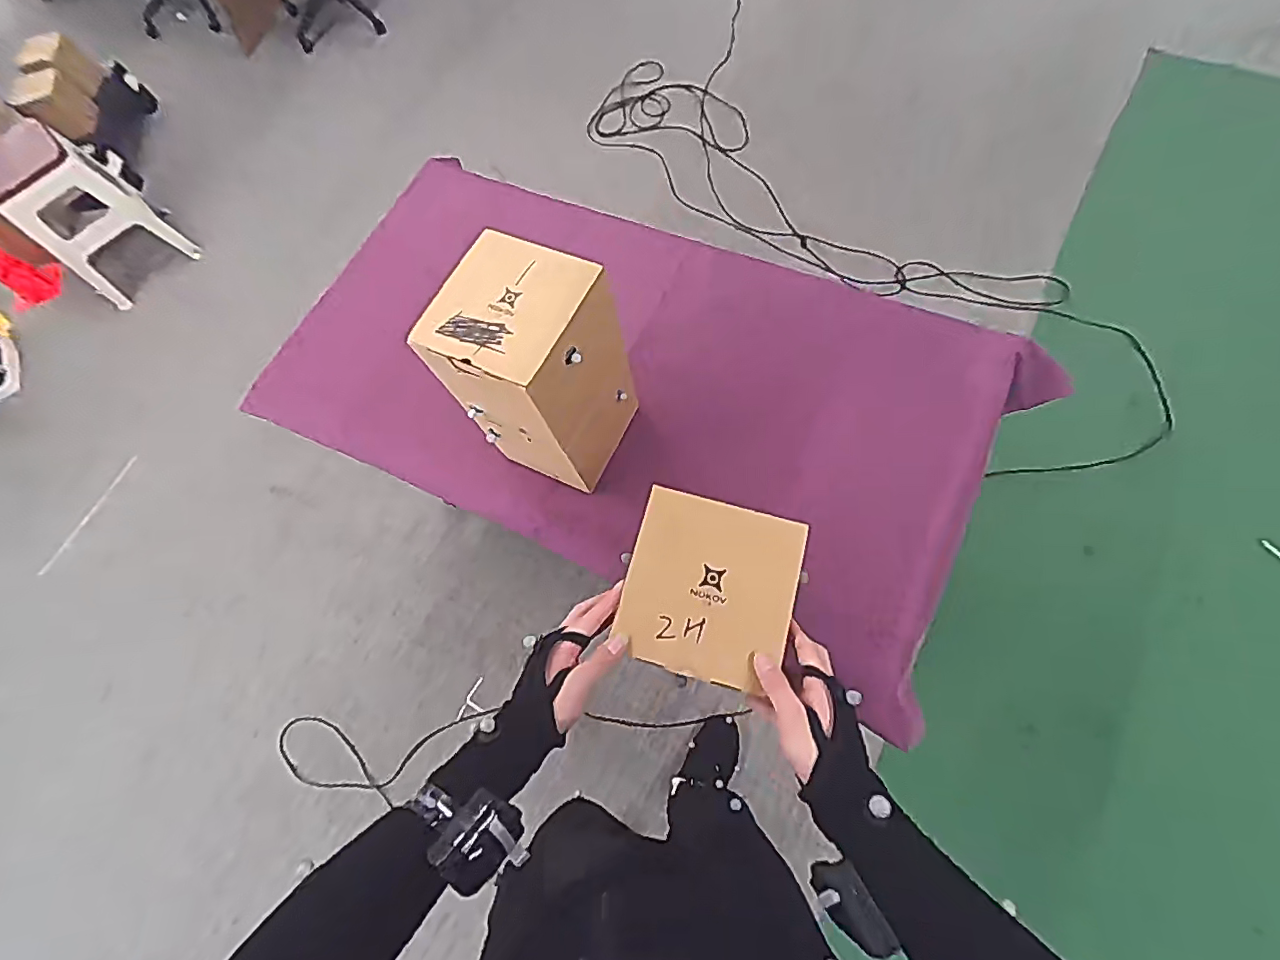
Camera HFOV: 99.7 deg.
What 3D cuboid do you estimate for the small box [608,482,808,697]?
[{"bbox_3d":[0.073,0.125,0.612,0.168,0.176,0.179,15,74,8],"label":"small box"}]

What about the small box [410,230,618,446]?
[{"bbox_3d":[-0.140,-0.168,0.681,0.168,0.176,0.179,24,73,15],"label":"small box"}]
